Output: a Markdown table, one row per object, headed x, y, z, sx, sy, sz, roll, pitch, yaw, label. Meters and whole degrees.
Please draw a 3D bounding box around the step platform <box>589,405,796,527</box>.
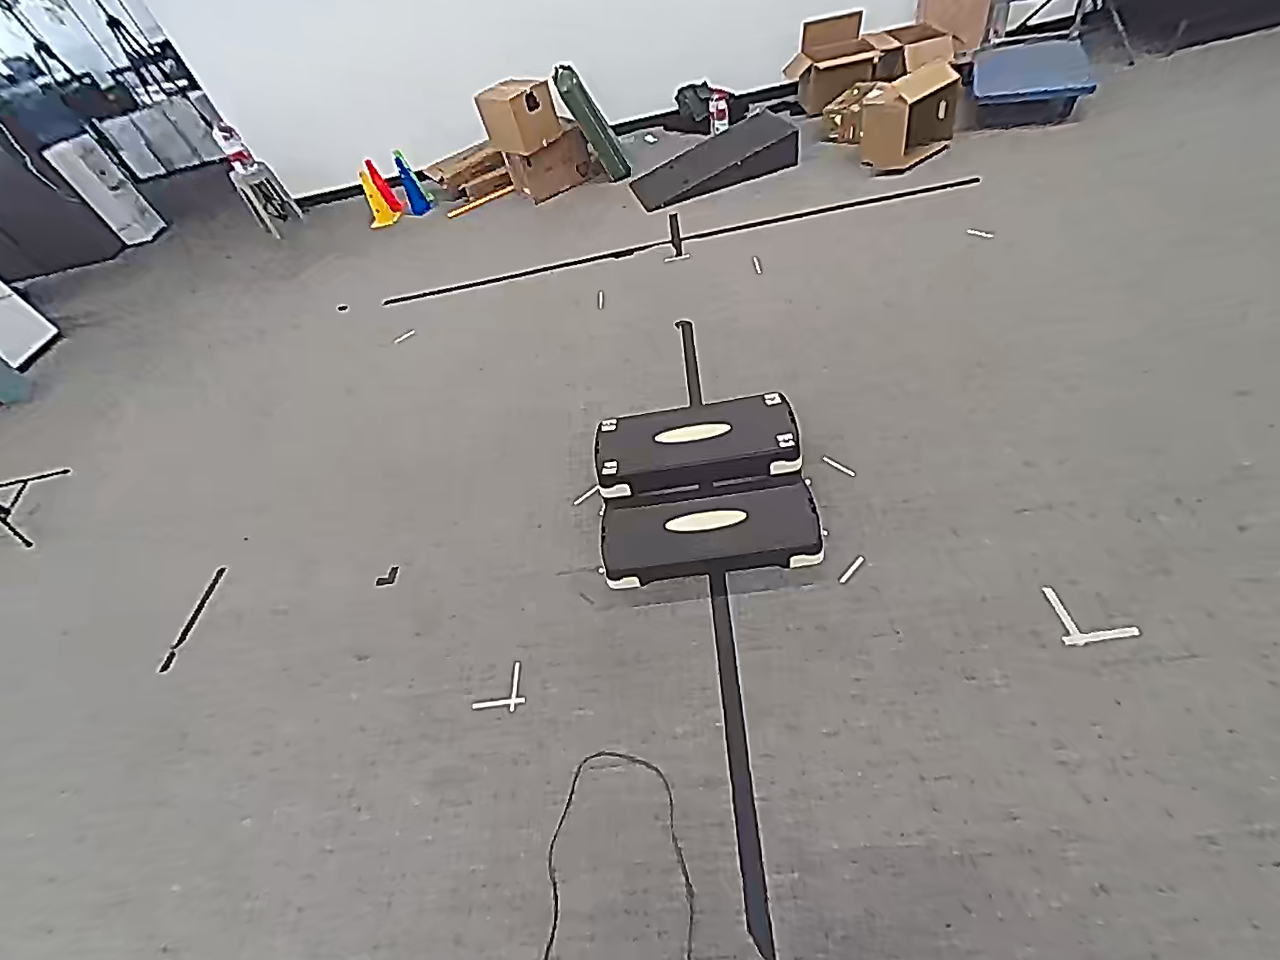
| x | y | z | sx | sy | sz | roll | pitch | yaw | label |
| --- | --- | --- | --- | --- | --- | --- | --- | --- | --- |
| 0.170 | -0.050 | 1.833 | 0.684 | 0.204 | 0.286 | -9 | 49 | 6 | step platform |
